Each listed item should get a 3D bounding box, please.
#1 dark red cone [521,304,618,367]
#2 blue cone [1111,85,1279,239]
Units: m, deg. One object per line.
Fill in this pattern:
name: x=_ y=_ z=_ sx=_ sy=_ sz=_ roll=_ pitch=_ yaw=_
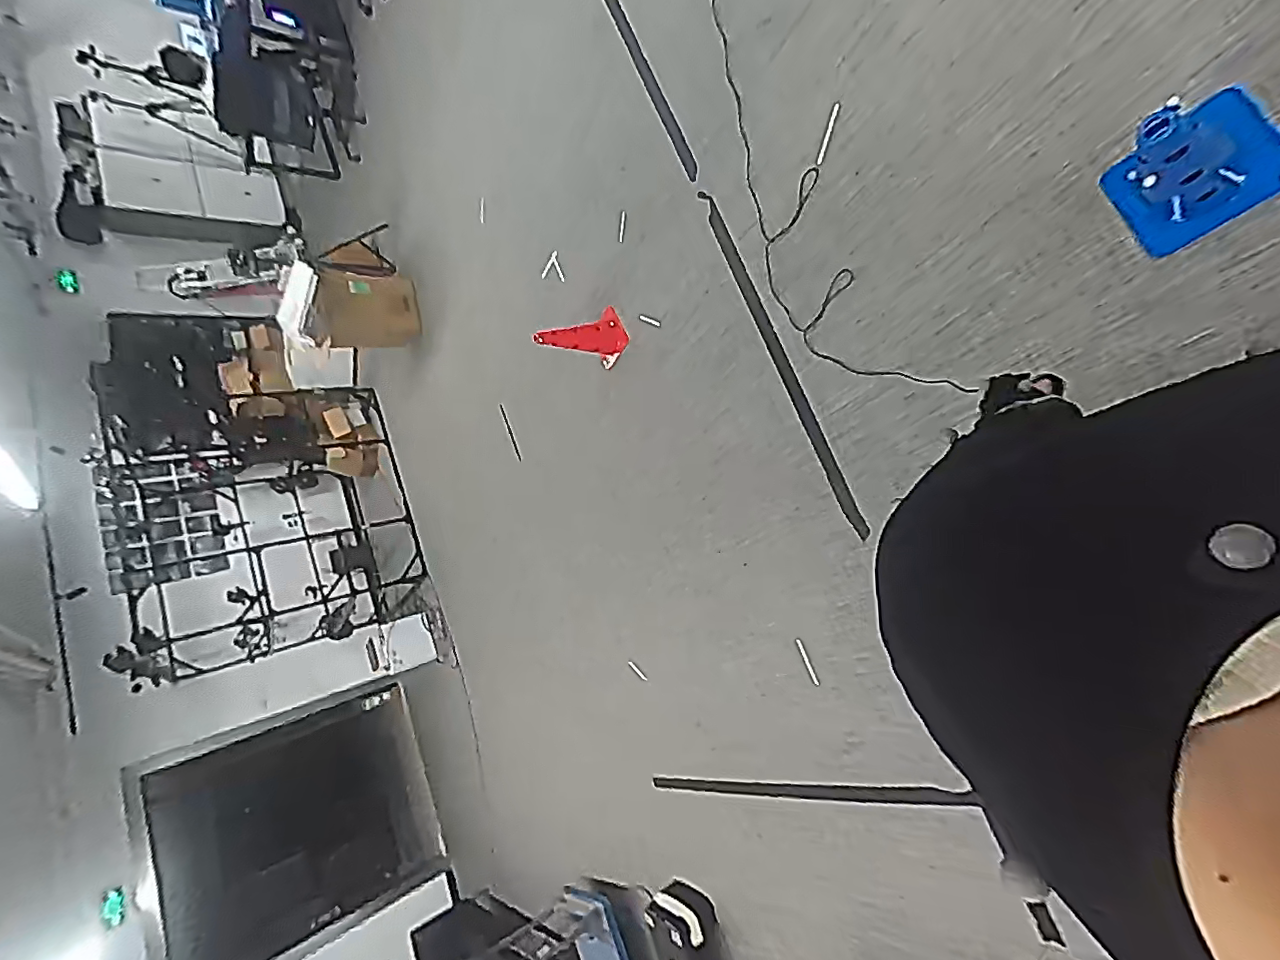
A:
dark red cone: x=-0.293 y=-0.582 z=2.180 sx=0.201 sy=0.394 sz=0.202 roll=-46 pitch=63 yaw=46
blue cone: x=0.824 y=-0.512 z=0.821 sx=0.192 sy=0.380 sz=0.193 roll=-35 pitch=72 yaw=49
